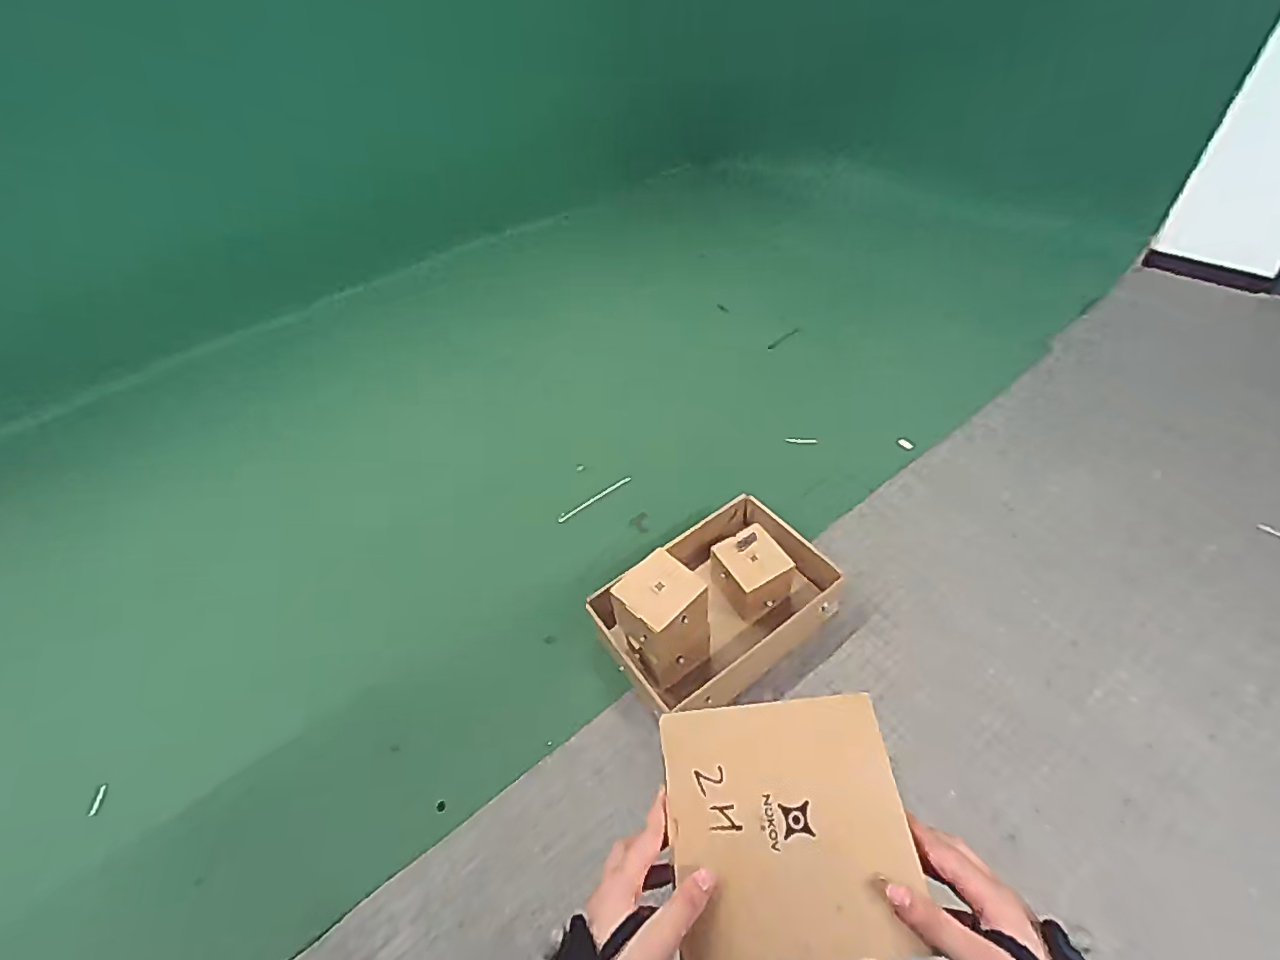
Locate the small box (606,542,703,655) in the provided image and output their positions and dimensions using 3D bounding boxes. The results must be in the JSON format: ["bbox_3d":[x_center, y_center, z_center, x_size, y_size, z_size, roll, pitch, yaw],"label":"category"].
[{"bbox_3d":[0.041,0.296,1.335,0.179,0.176,0.168,-37,55,-27],"label":"small box"}]

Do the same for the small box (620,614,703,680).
[{"bbox_3d":[0.059,0.404,1.458,0.179,0.176,0.168,-30,52,-18],"label":"small box"}]

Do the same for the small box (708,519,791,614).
[{"bbox_3d":[0.308,0.253,1.565,0.168,0.176,0.179,-26,51,-15],"label":"small box"}]

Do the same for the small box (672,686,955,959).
[{"bbox_3d":[0.124,0.285,0.464,0.179,0.176,0.168,-7,56,4],"label":"small box"}]
